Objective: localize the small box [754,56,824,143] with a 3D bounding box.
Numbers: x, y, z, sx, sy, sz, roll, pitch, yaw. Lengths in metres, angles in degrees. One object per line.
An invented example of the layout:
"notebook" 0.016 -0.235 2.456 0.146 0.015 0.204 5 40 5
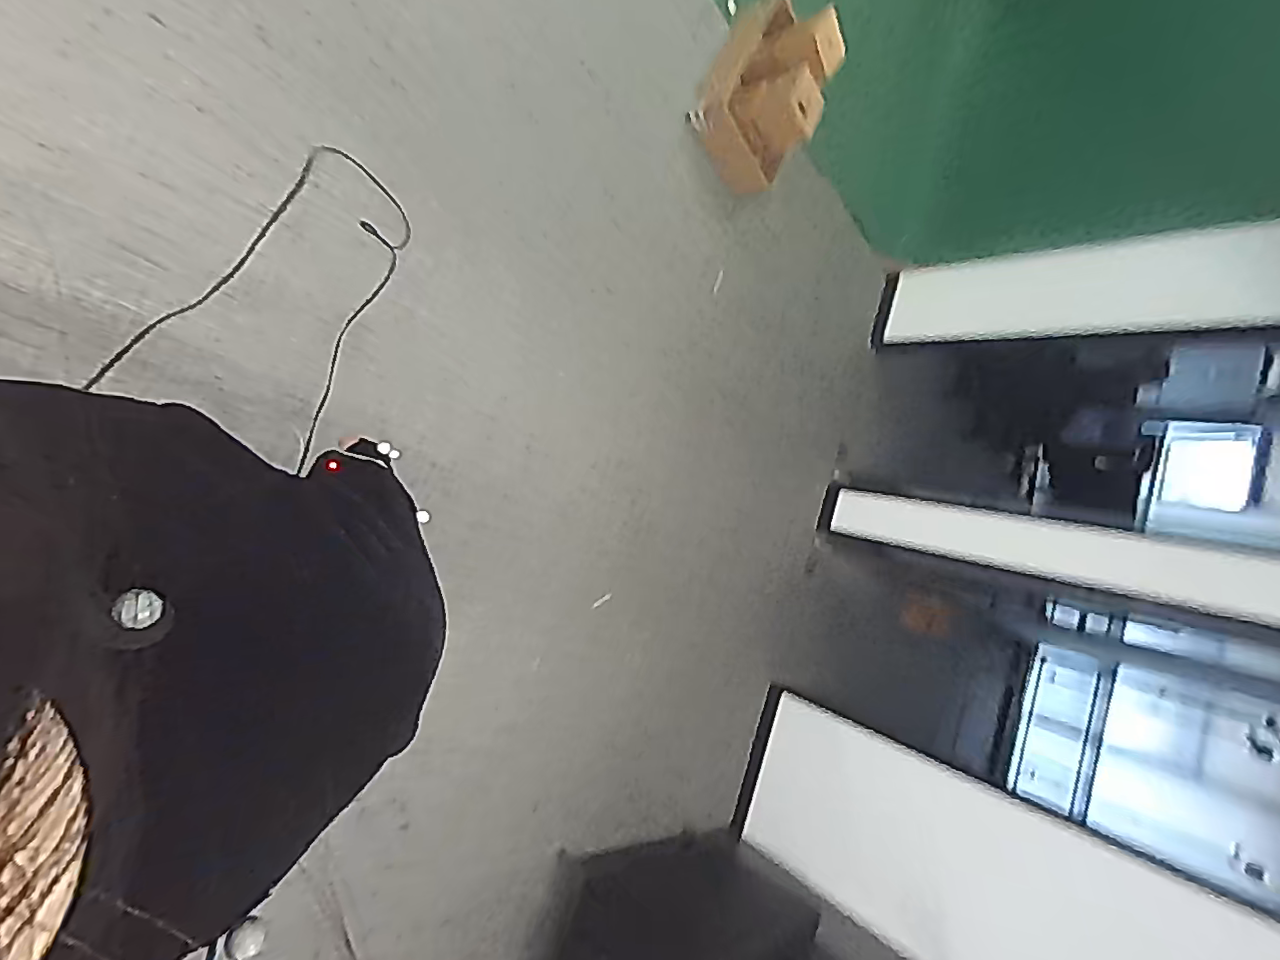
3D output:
"small box" 0.540 -1.381 1.978 0.168 0.176 0.179 34 73 -41

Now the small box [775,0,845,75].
"small box" 0.634 -1.633 2.018 0.168 0.176 0.179 48 68 -38
